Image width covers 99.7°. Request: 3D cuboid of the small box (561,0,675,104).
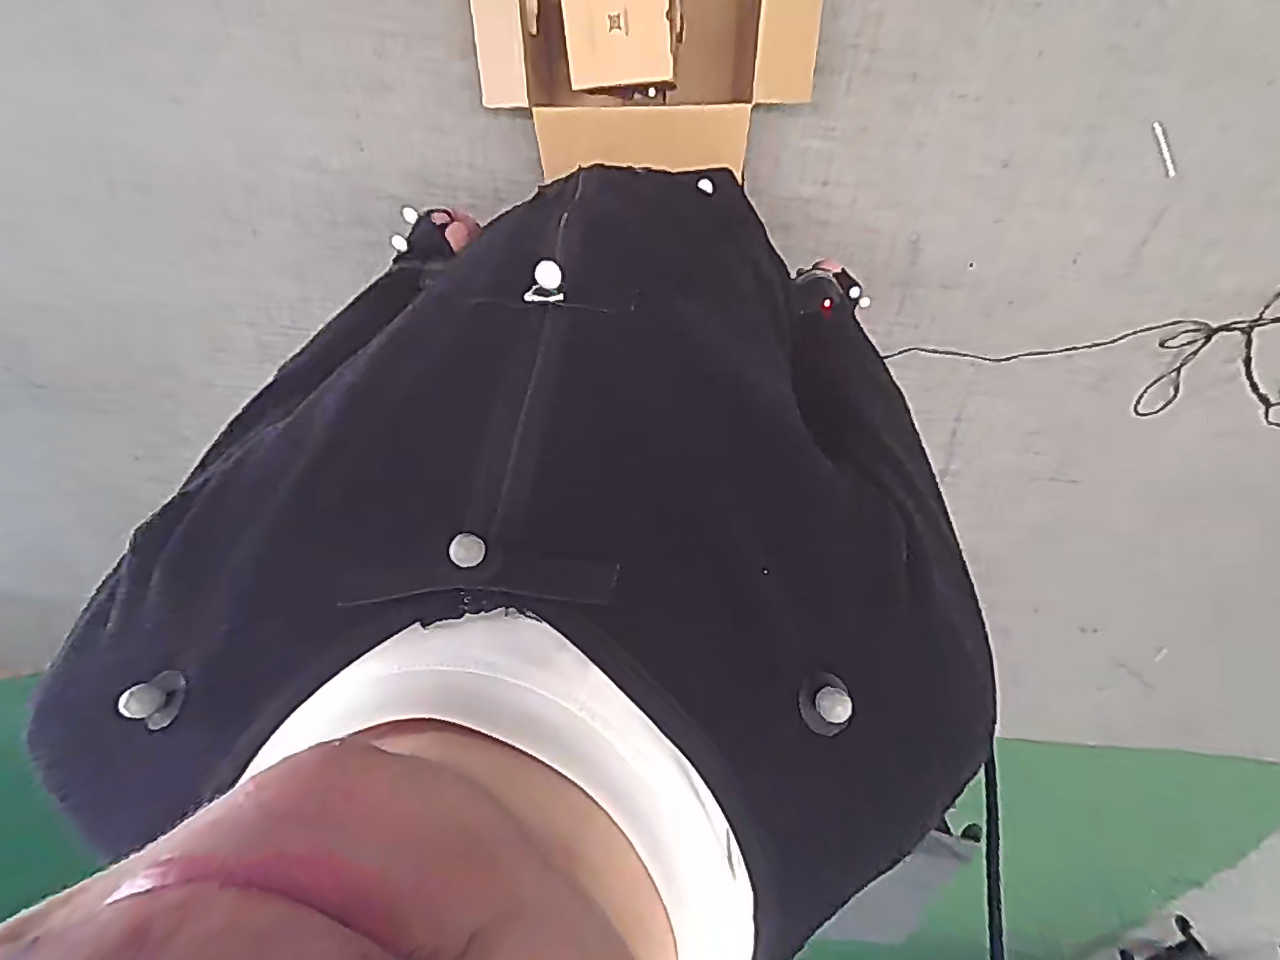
[{"bbox_3d":[-0.029,-0.767,0.942,0.179,0.176,0.168,0,120,8],"label":"small box"}]
